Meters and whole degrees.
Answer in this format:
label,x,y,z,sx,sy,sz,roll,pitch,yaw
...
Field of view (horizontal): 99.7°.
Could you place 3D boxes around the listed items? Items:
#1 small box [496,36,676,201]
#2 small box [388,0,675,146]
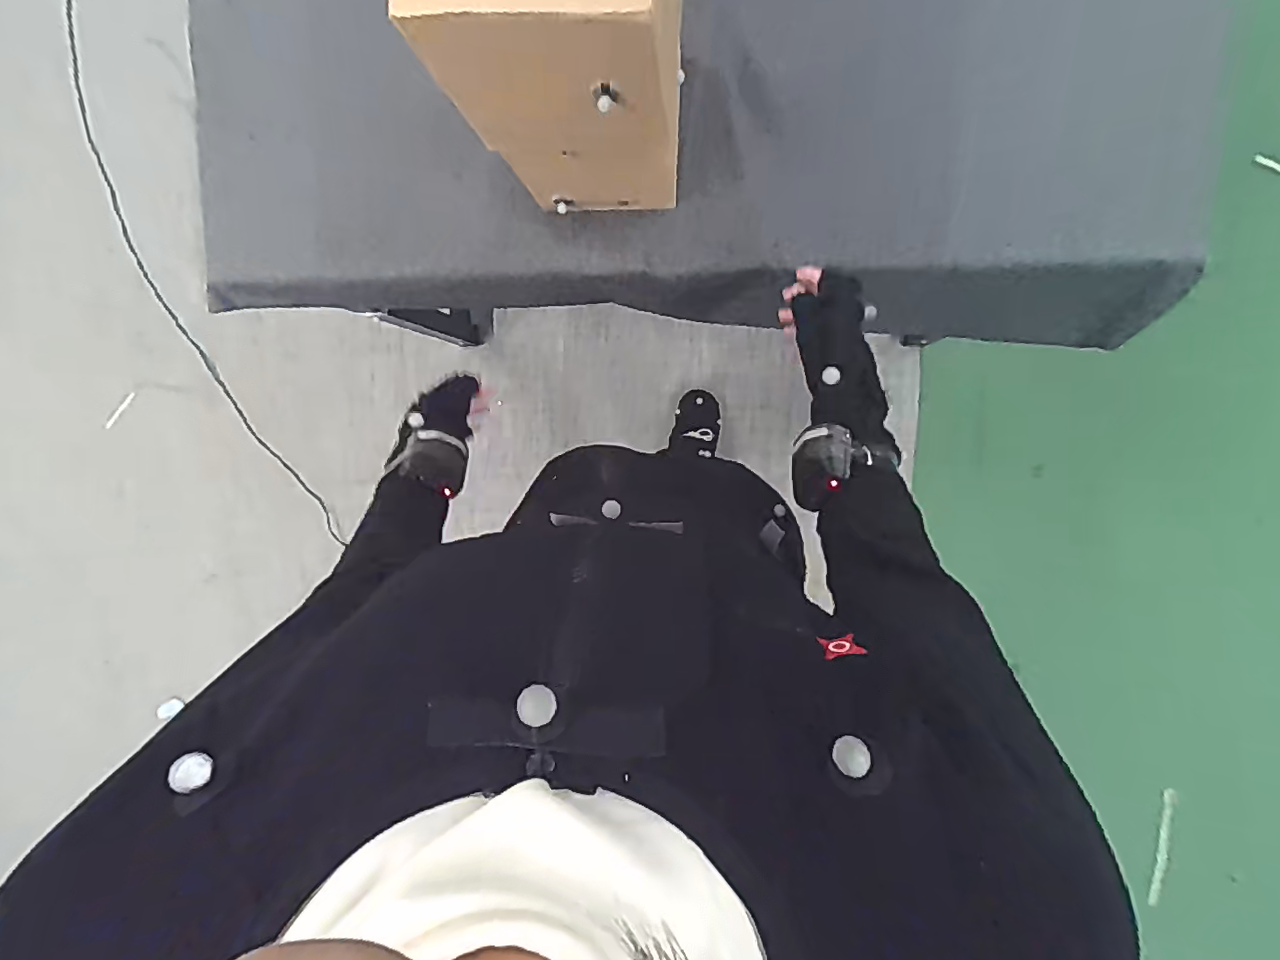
label,x,y,z,sx,sy,sz,roll,pitch,yaw
small box,-0.050,-0.417,0.576,0.168,0.176,0.179,-1,96,8
small box,-0.065,-0.386,0.417,0.179,0.176,0.168,4,94,8
